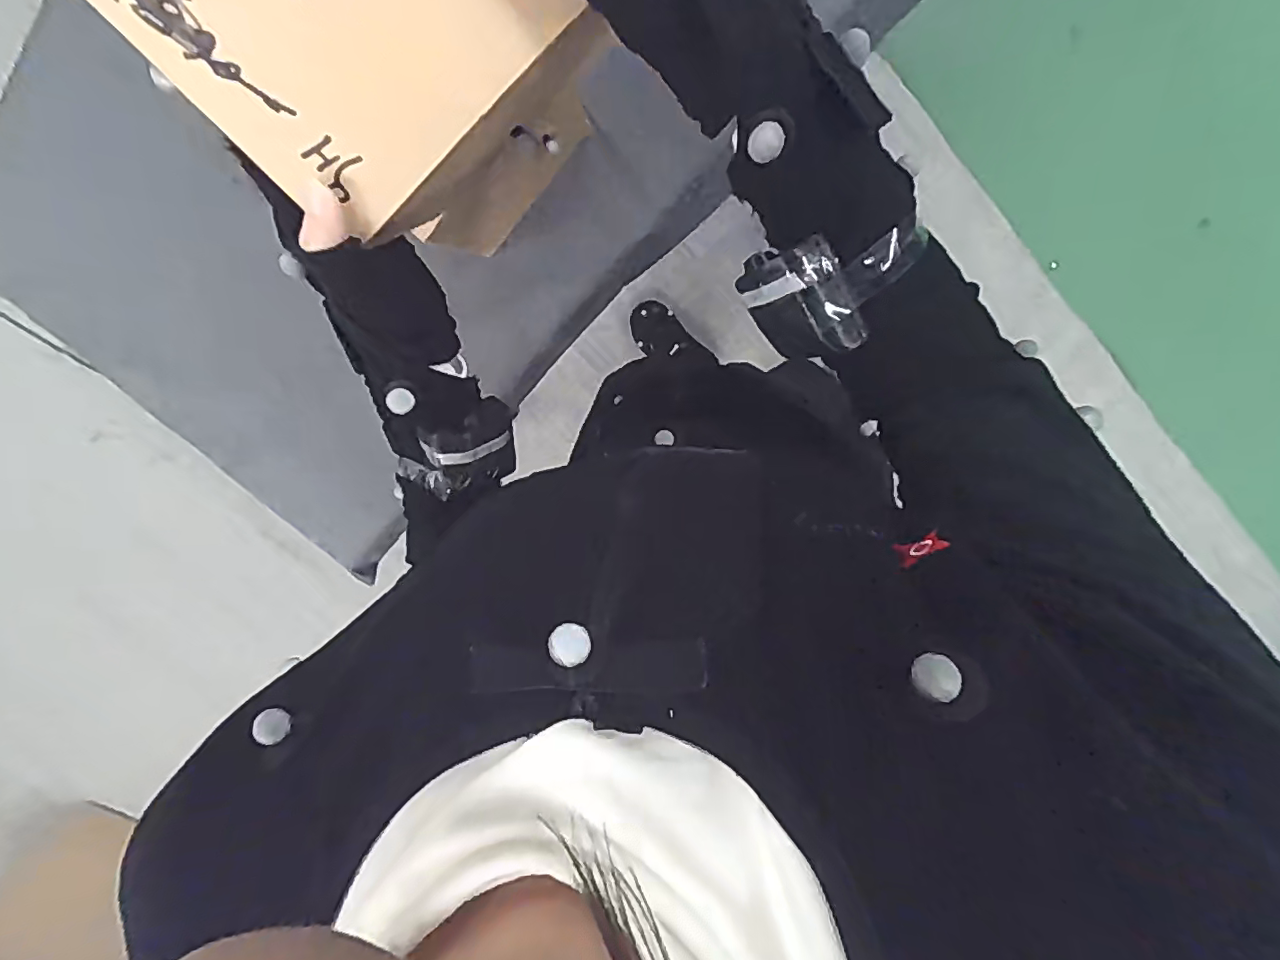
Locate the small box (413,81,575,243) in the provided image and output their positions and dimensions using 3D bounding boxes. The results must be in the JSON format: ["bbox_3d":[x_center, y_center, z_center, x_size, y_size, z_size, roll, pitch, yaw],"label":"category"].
[{"bbox_3d":[-0.177,-0.347,0.497,0.168,0.176,0.179,43,108,-9],"label":"small box"}]

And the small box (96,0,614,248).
[{"bbox_3d":[-0.126,-0.256,0.271,0.179,0.176,0.168,-36,119,19],"label":"small box"}]
